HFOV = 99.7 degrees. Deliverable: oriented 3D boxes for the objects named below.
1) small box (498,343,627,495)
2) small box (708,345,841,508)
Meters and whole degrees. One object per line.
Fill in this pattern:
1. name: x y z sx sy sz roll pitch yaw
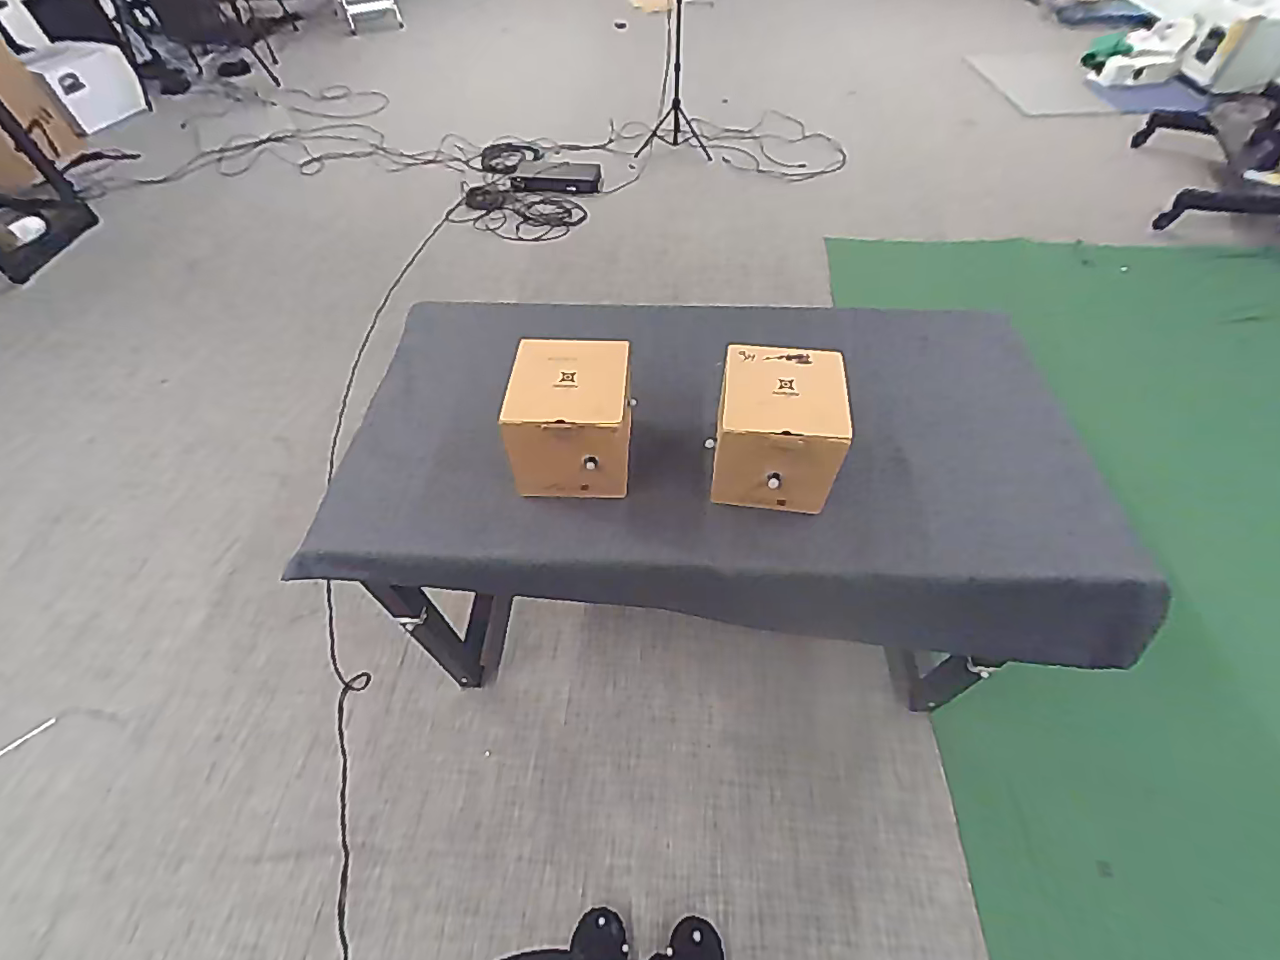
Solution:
1. small box: -0.106 -0.090 0.834 0.168 0.176 0.179 1 51 1
2. small box: 0.194 -0.076 0.811 0.168 0.176 0.179 6 54 6
